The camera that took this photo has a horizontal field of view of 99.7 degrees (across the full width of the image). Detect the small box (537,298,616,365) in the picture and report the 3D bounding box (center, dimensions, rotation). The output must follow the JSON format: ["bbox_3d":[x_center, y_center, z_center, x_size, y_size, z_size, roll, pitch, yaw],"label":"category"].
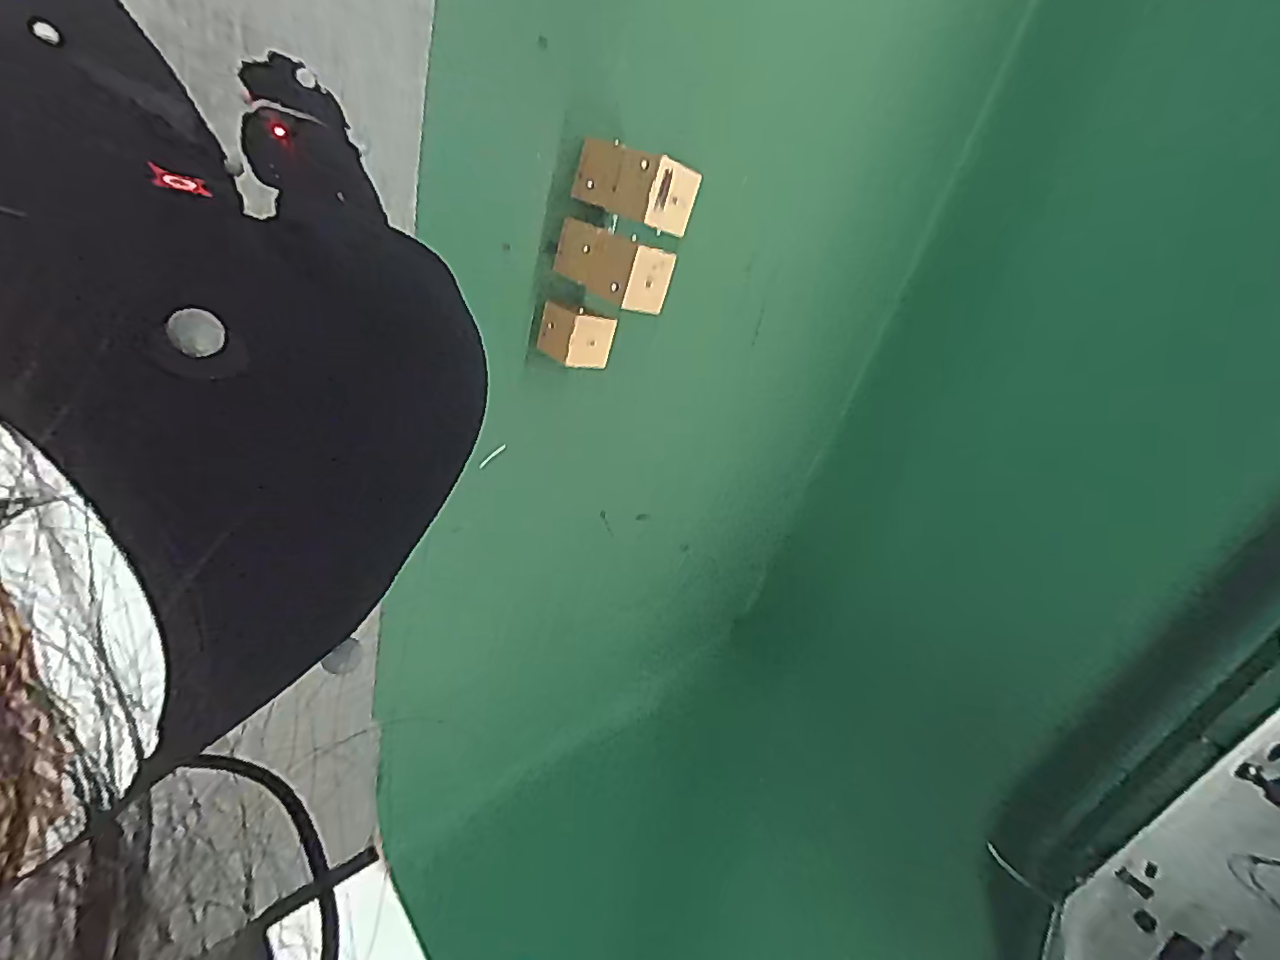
[{"bbox_3d":[-0.213,-0.495,1.802,0.179,0.176,0.168,-10,127,-44],"label":"small box"}]
